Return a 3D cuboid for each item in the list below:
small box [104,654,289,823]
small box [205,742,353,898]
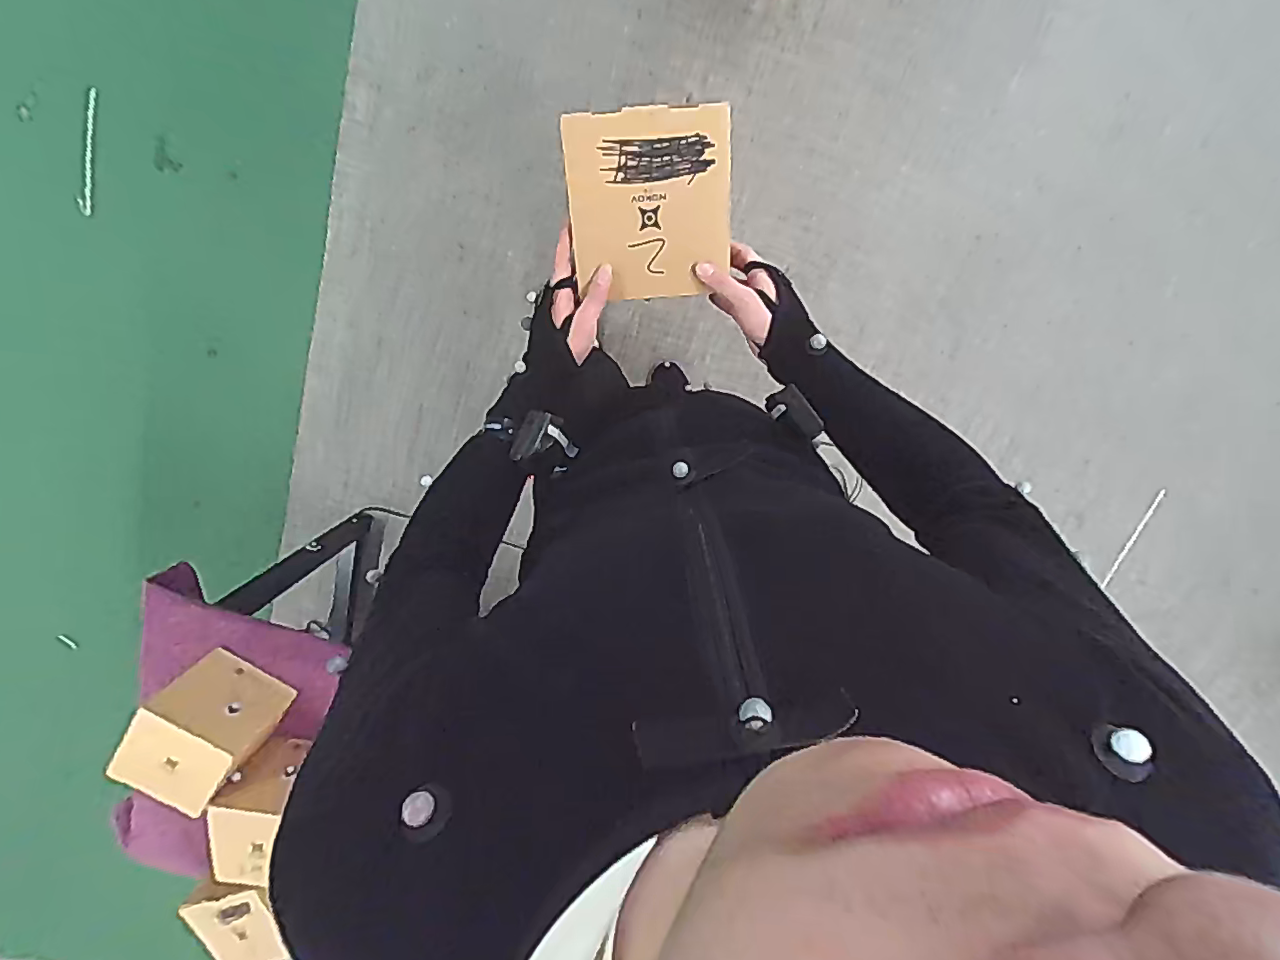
[{"bbox_3d":[-0.770,0.447,0.959,0.168,0.176,0.179,35,106,-9],"label":"small box"},{"bbox_3d":[-0.660,0.622,1.008,0.168,0.176,0.179,9,106,0],"label":"small box"}]
